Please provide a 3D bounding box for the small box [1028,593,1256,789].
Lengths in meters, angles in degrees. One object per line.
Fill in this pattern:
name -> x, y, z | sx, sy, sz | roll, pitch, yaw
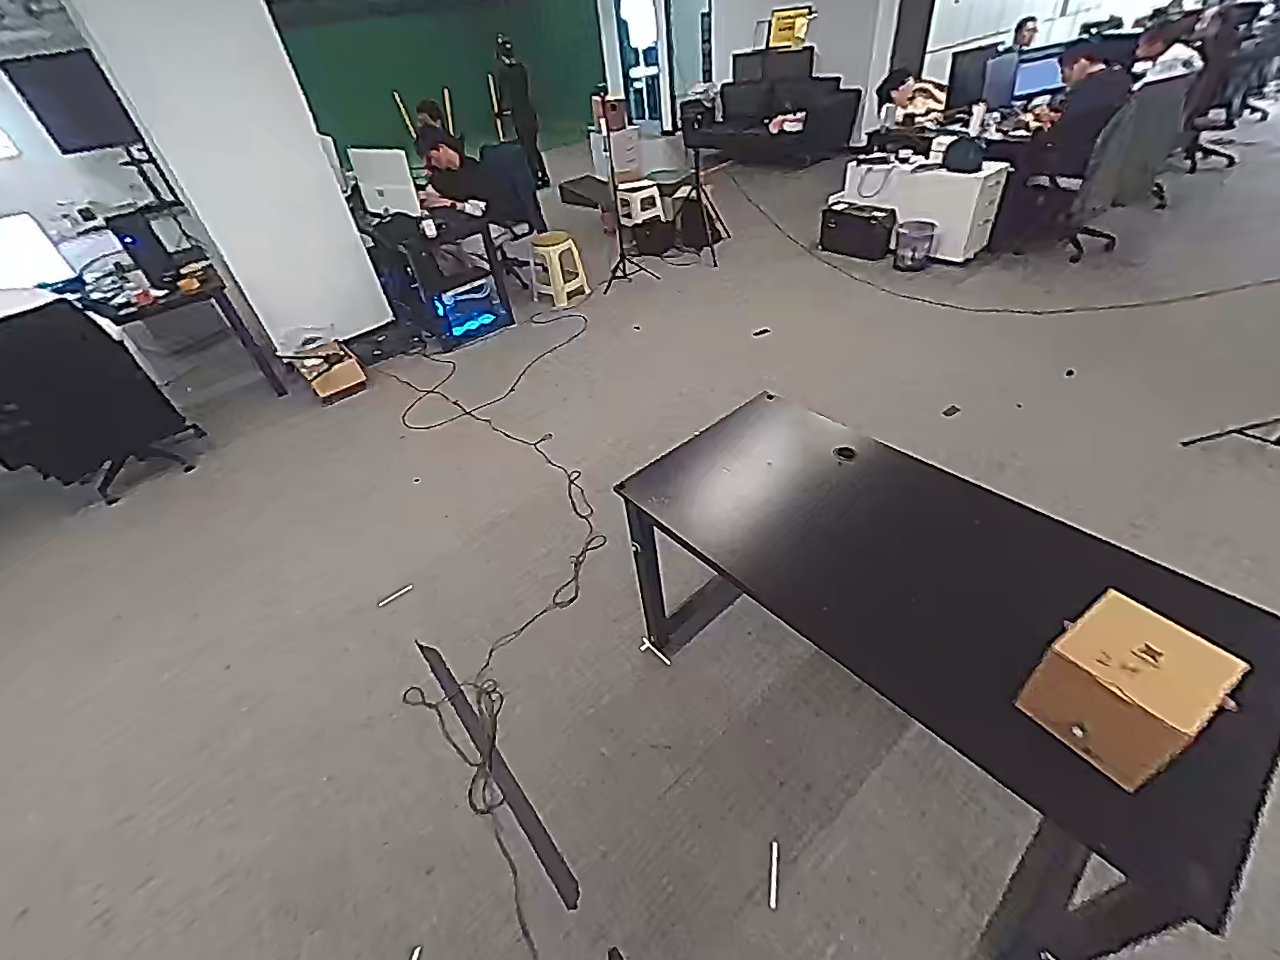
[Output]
small box -> 0.722, 0.309, 0.800 | 0.179, 0.176, 0.168 | -26, 43, -21
